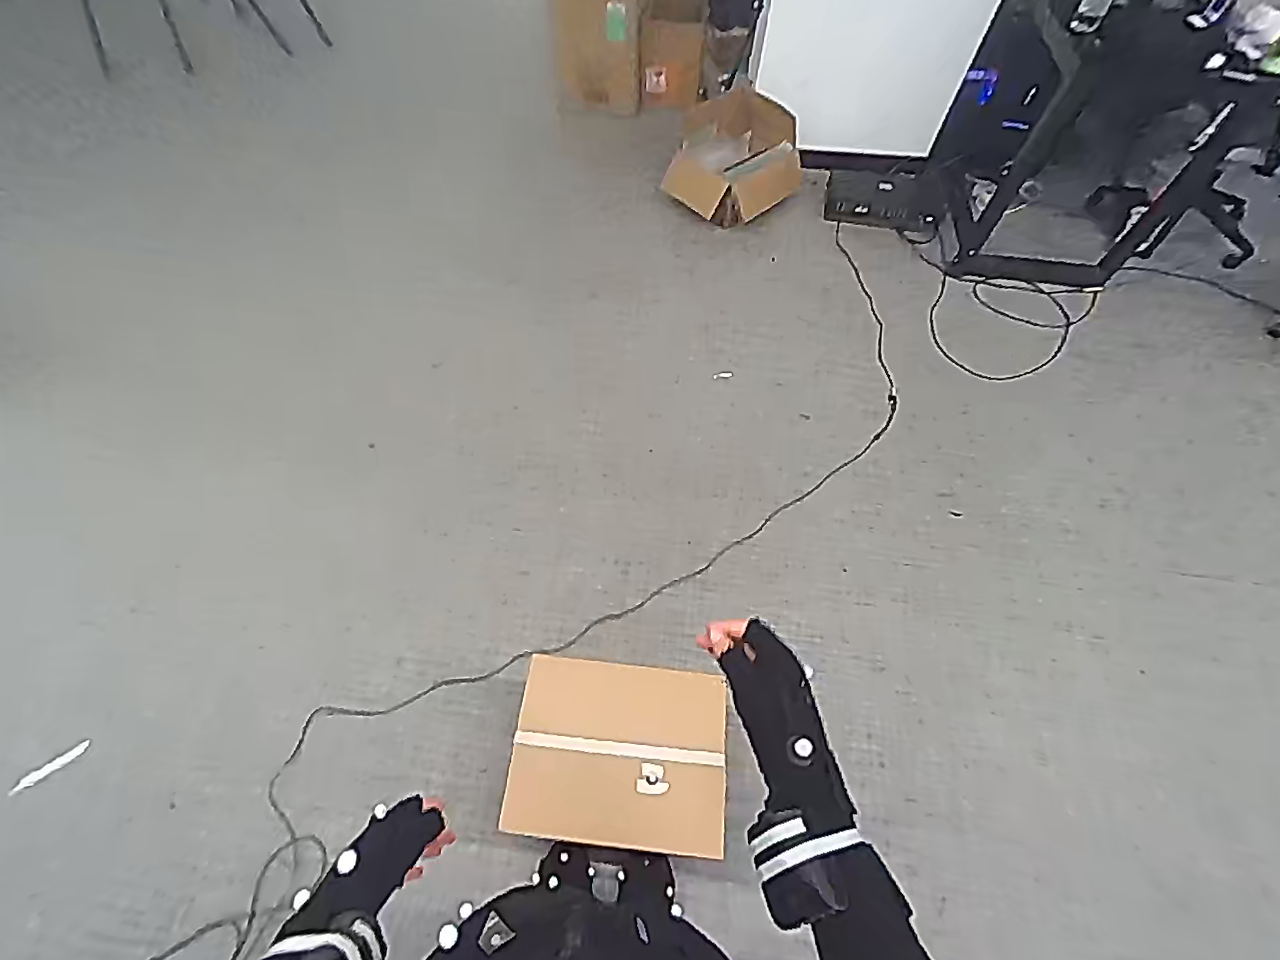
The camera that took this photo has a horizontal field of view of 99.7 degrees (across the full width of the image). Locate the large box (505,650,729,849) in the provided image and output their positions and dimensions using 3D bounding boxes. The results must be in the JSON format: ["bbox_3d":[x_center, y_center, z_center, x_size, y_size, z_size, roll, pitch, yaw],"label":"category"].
[{"bbox_3d":[-0.037,0.576,1.155,0.408,0.320,0.320,6,60,2],"label":"large box"}]
